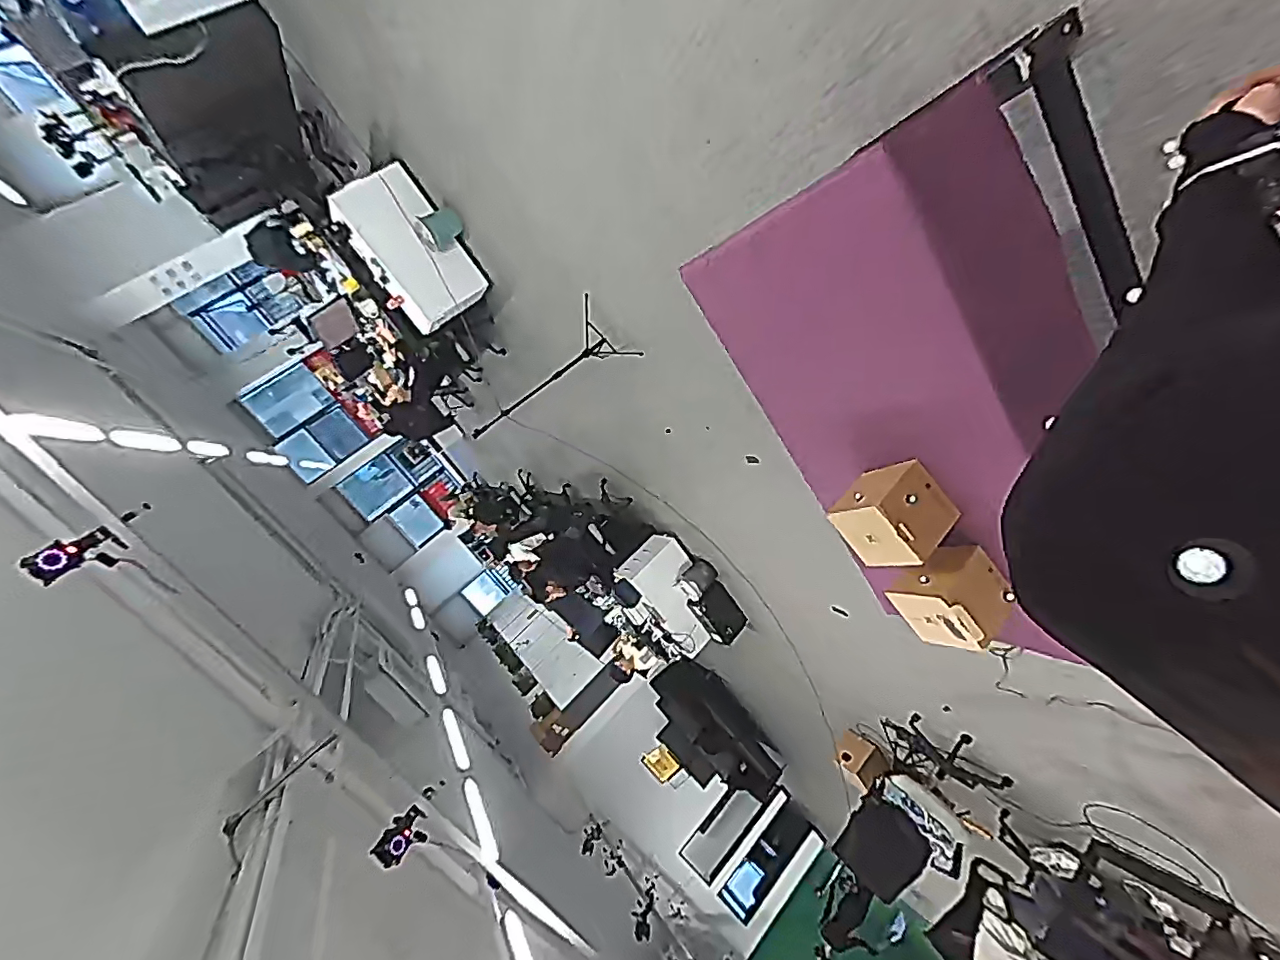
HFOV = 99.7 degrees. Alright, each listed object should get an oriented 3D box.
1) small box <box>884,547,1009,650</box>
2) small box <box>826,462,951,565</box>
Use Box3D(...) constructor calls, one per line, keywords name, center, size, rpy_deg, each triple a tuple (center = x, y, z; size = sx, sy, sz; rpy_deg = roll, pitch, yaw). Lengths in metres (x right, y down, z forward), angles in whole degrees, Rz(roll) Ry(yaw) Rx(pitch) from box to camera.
Box3D(name="small box", center=(0.732, 0.273, 1.282), size=(0.168, 0.176, 0.179), rpy_deg=(50, 161, -6))
Box3D(name="small box", center=(0.577, 0.079, 1.246), size=(0.168, 0.176, 0.179), rpy_deg=(50, 160, -4))
